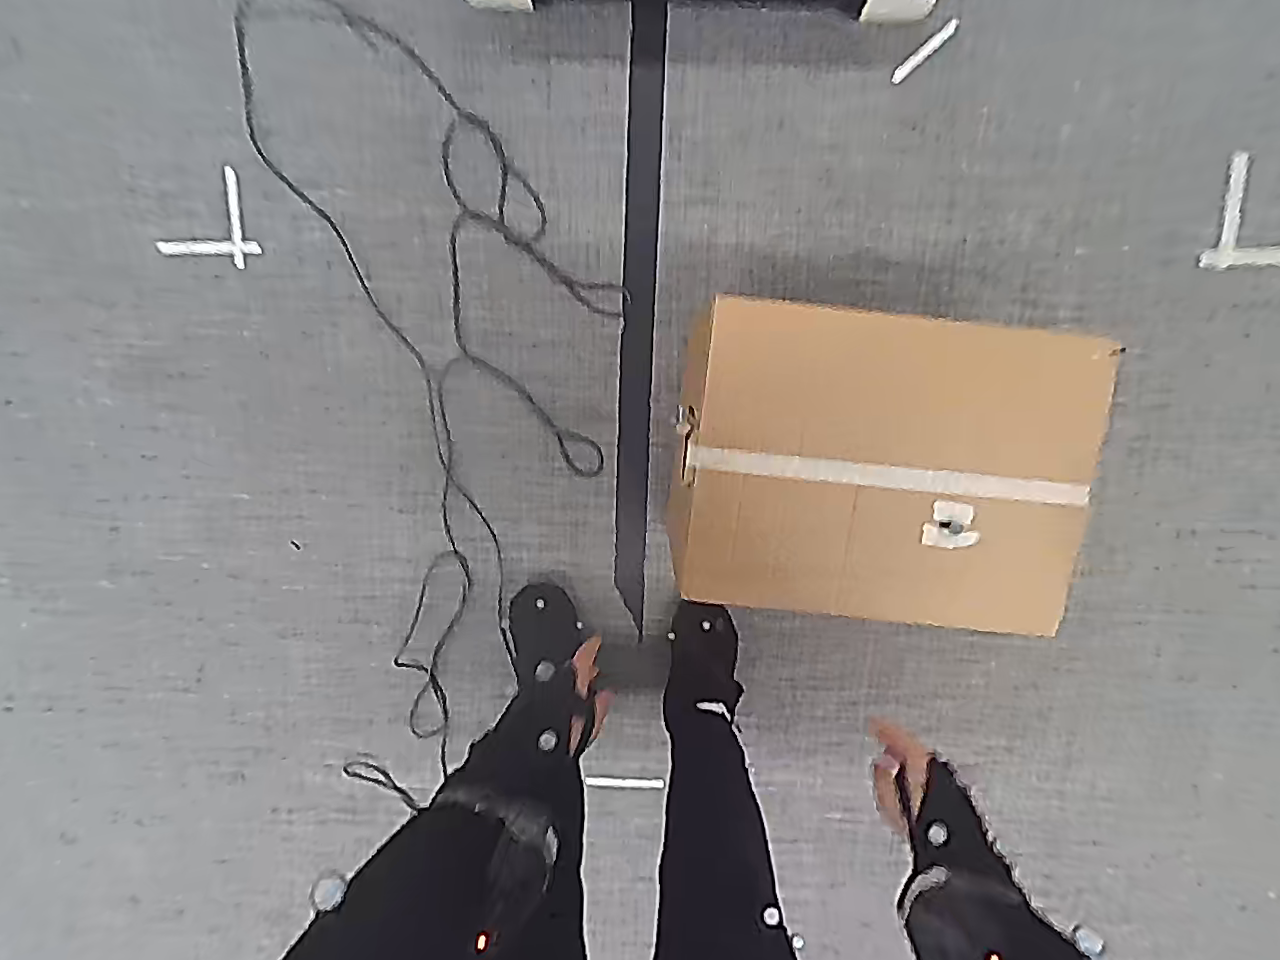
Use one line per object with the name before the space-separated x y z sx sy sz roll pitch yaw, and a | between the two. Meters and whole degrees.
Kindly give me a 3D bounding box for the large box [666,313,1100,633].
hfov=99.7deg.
large box | 0.250 -0.020 0.706 0.408 0.320 0.320 5 99 -1
